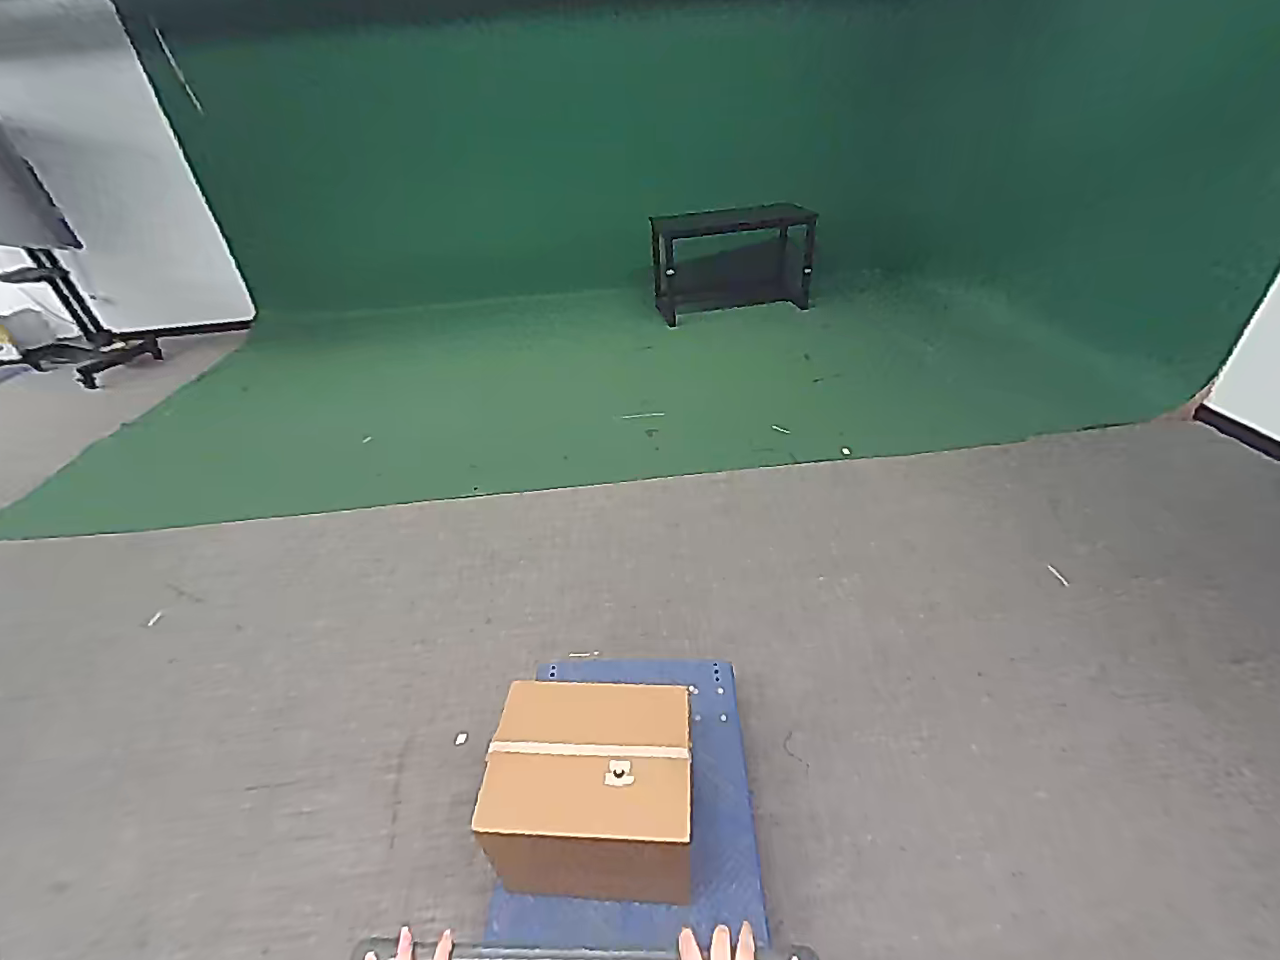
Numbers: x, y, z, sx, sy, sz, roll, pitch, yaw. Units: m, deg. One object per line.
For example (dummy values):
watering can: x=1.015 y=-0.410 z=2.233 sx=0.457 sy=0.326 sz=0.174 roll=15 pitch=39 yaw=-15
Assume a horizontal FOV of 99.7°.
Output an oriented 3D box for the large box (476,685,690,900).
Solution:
large box: x=-0.099 y=0.683 z=1.193 sx=0.408 sy=0.320 sz=0.320 roll=1 pitch=35 yaw=4
